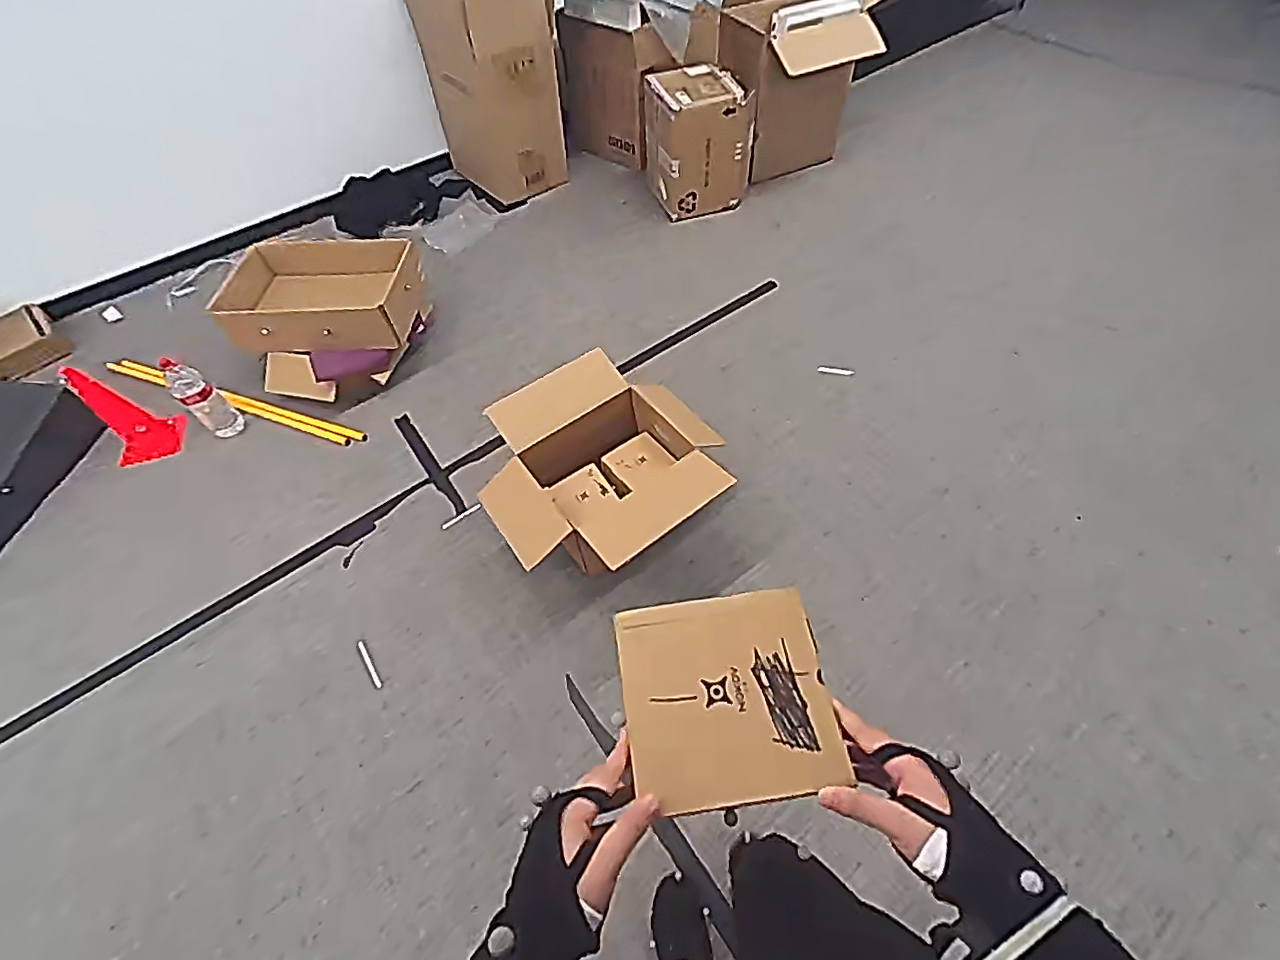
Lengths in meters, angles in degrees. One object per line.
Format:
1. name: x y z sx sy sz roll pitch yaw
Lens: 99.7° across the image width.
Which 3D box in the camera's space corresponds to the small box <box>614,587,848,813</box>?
1. small box: 0.072 0.219 0.532 0.179 0.176 0.168 -7 59 -2
